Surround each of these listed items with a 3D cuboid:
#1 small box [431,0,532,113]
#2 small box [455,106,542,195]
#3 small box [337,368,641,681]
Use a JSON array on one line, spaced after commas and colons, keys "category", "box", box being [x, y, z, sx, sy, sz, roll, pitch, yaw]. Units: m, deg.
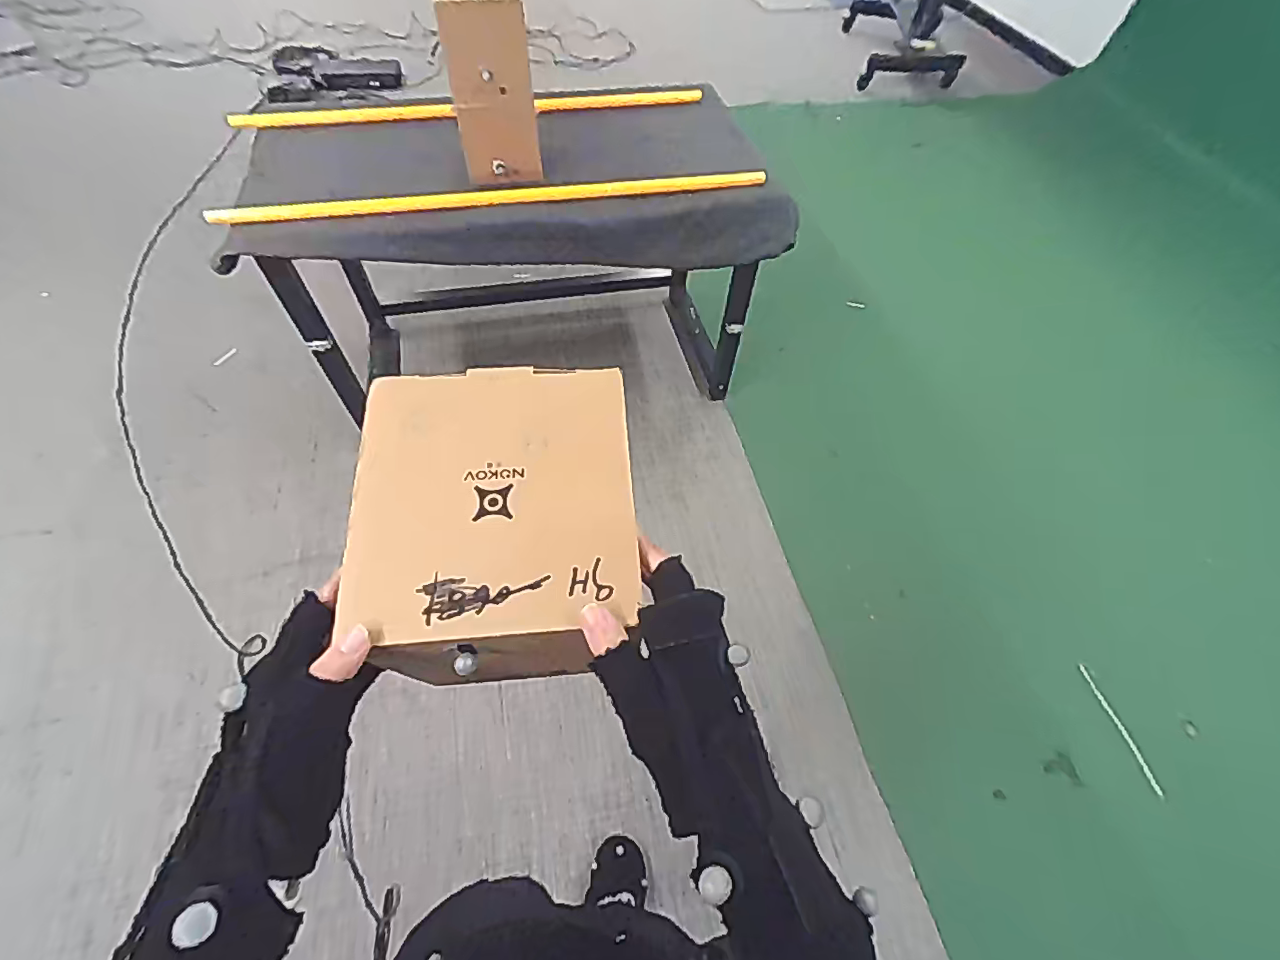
[{"category": "small box", "box": [-0.319, -0.883, 1.109, 0.168, 0.176, 0.179, -8, 57, -7]}, {"category": "small box", "box": [-0.324, -0.786, 1.243, 0.168, 0.176, 0.179, -11, 58, -9]}, {"category": "small box", "box": [-0.091, 0.040, 0.403, 0.168, 0.176, 0.179, -4, 62, -4]}]
